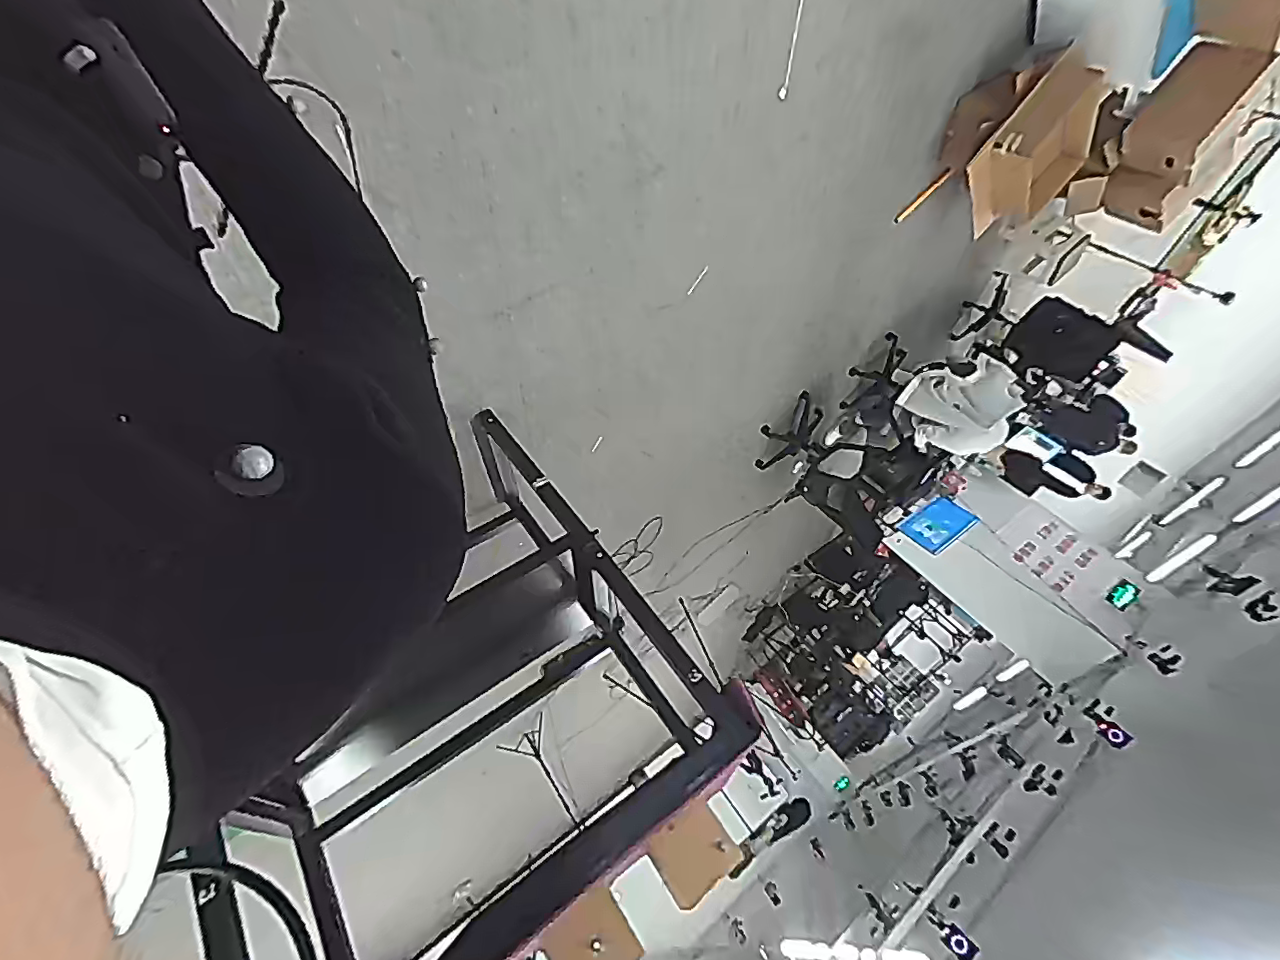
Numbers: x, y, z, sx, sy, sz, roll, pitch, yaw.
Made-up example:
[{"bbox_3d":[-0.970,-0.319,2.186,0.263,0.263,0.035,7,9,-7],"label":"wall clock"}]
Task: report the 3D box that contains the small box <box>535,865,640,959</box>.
[{"bbox_3d":[-0.124,1.009,1.206,0.179,0.176,0.168,-27,148,-27],"label":"small box"}]
